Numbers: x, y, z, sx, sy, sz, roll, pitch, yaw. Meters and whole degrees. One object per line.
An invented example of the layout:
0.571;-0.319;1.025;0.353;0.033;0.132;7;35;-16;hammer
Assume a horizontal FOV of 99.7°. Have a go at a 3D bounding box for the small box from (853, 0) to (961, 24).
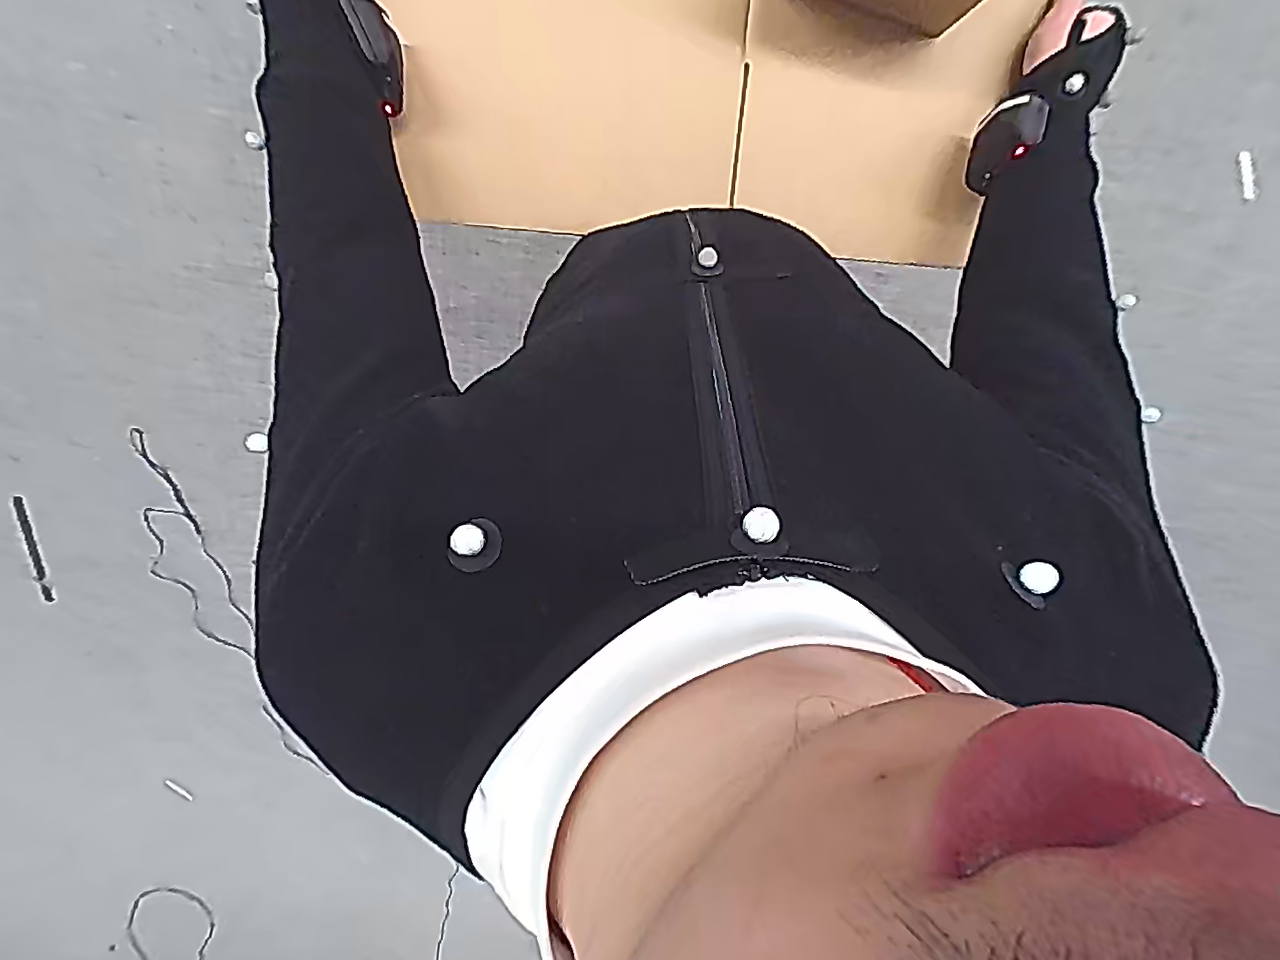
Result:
0.213;-0.480;0.390;0.179;0.176;0.168;14;108;-5;small box
